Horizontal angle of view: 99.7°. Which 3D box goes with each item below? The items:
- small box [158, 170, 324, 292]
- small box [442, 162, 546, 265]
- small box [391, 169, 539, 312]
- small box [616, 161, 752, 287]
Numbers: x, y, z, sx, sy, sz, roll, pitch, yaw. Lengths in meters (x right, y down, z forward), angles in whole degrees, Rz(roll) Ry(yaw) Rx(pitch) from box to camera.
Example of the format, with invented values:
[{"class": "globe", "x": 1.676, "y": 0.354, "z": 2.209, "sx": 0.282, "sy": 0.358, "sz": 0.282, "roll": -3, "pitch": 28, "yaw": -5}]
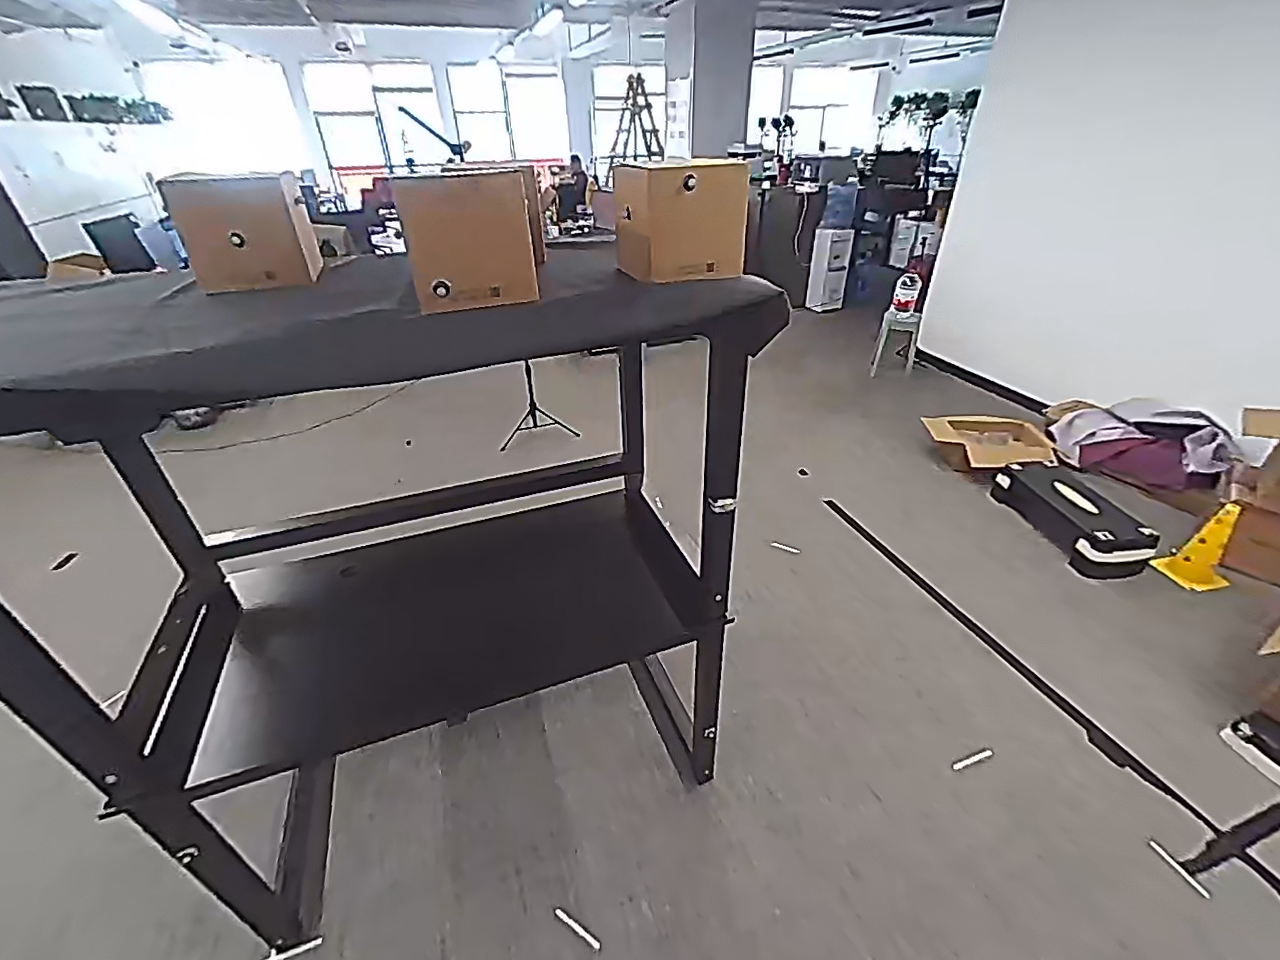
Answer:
[{"class": "small box", "x": -0.665, "y": -0.427, "z": 0.929, "sx": 0.168, "sy": 0.176, "sz": 0.179, "roll": -12, "pitch": 35, "yaw": -17}, {"class": "small box", "x": -0.281, "y": -0.516, "z": 1.054, "sx": 0.168, "sy": 0.176, "sz": 0.179, "roll": -8, "pitch": 33, "yaw": -12}, {"class": "small box", "x": -0.251, "y": -0.349, "z": 0.789, "sx": 0.168, "sy": 0.176, "sz": 0.179, "roll": -12, "pitch": 32, "yaw": -15}, {"class": "small box", "x": 0.065, "y": -0.424, "z": 0.890, "sx": 0.168, "sy": 0.176, "sz": 0.179, "roll": -13, "pitch": 34, "yaw": -16}]
